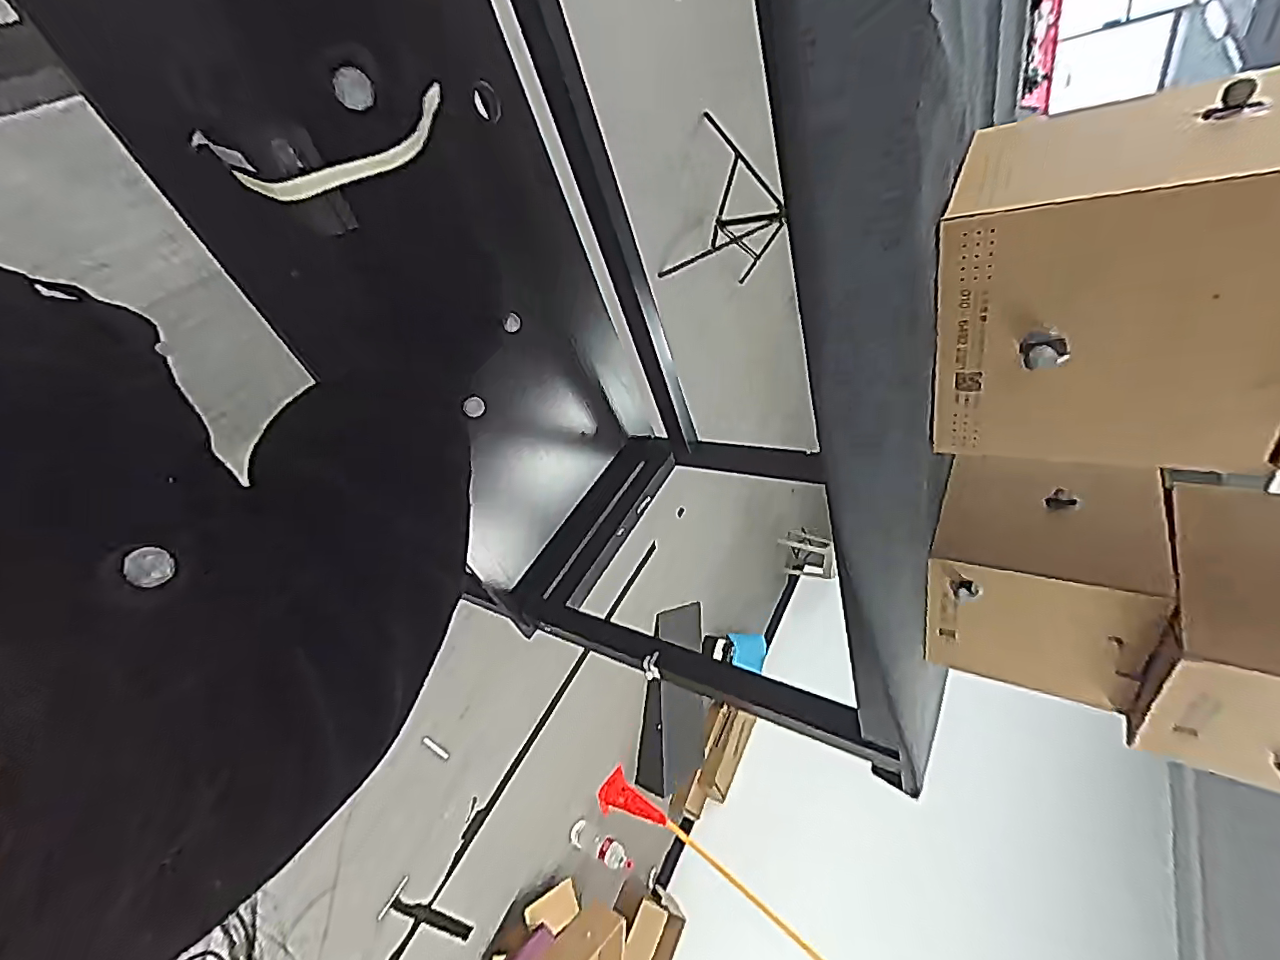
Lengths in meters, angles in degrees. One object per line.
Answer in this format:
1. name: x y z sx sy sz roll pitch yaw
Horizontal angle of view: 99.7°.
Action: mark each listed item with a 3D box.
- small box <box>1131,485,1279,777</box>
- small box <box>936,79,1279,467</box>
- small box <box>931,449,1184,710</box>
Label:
1. small box: 0.513 0.125 0.428 0.179 0.176 0.168 -57 140 -33
2. small box: 0.302 -0.131 0.351 0.179 0.176 0.168 -55 137 -36
3. small box: 0.395 0.085 0.537 0.179 0.176 0.168 -52 136 -38
